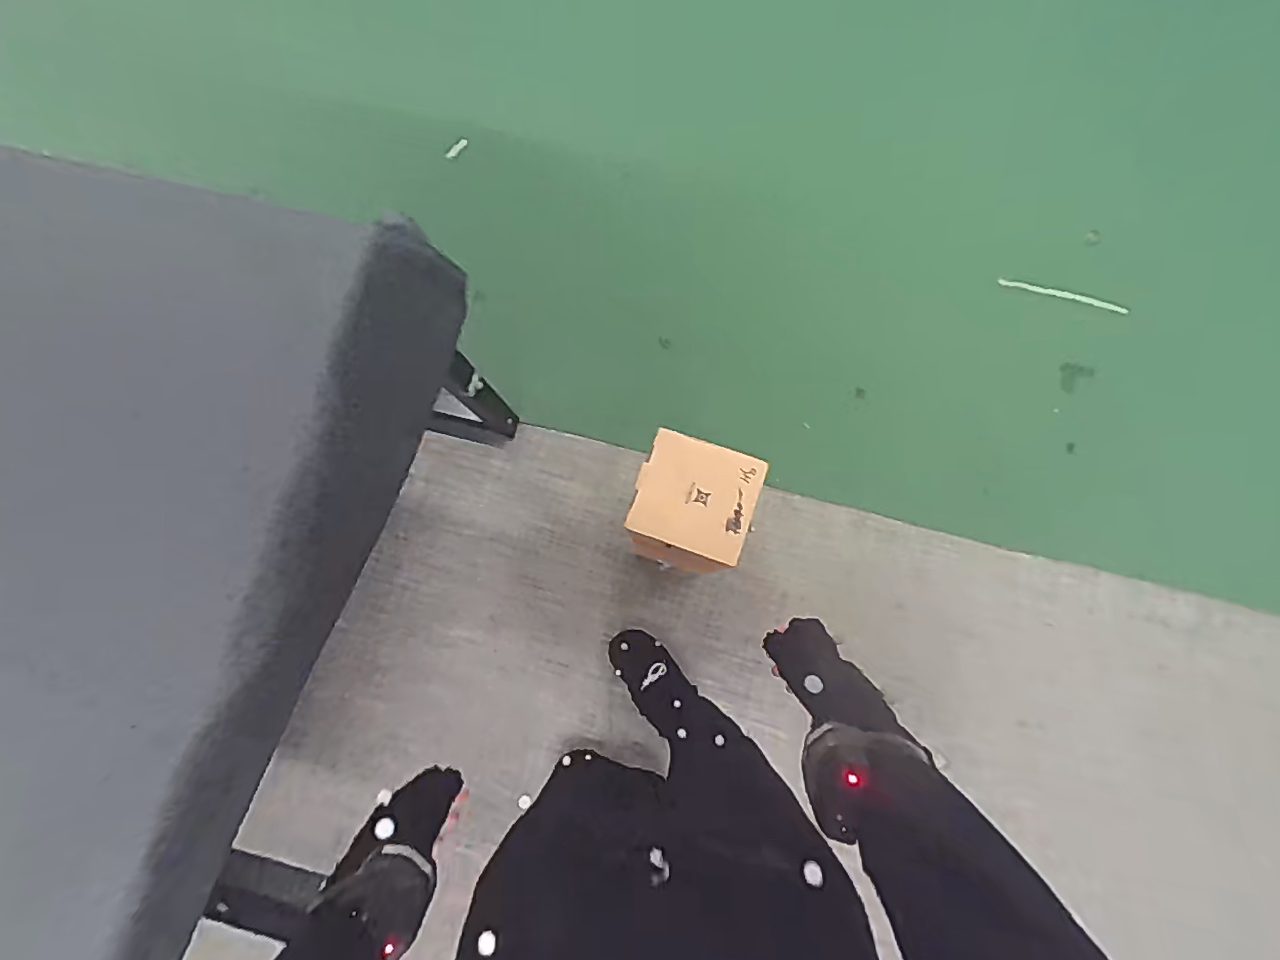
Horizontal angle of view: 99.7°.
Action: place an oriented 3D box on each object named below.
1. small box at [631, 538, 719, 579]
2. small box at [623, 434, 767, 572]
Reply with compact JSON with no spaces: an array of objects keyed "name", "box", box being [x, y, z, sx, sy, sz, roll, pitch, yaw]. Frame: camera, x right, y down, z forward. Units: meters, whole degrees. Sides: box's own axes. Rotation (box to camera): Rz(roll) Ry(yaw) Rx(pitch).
[{"name":"small box","box":[0.089,0.082,1.039,0.168,0.176,0.179,19,81,7]},{"name":"small box","box":[0.087,0.047,0.879,0.179,0.176,0.168,19,81,7]}]
